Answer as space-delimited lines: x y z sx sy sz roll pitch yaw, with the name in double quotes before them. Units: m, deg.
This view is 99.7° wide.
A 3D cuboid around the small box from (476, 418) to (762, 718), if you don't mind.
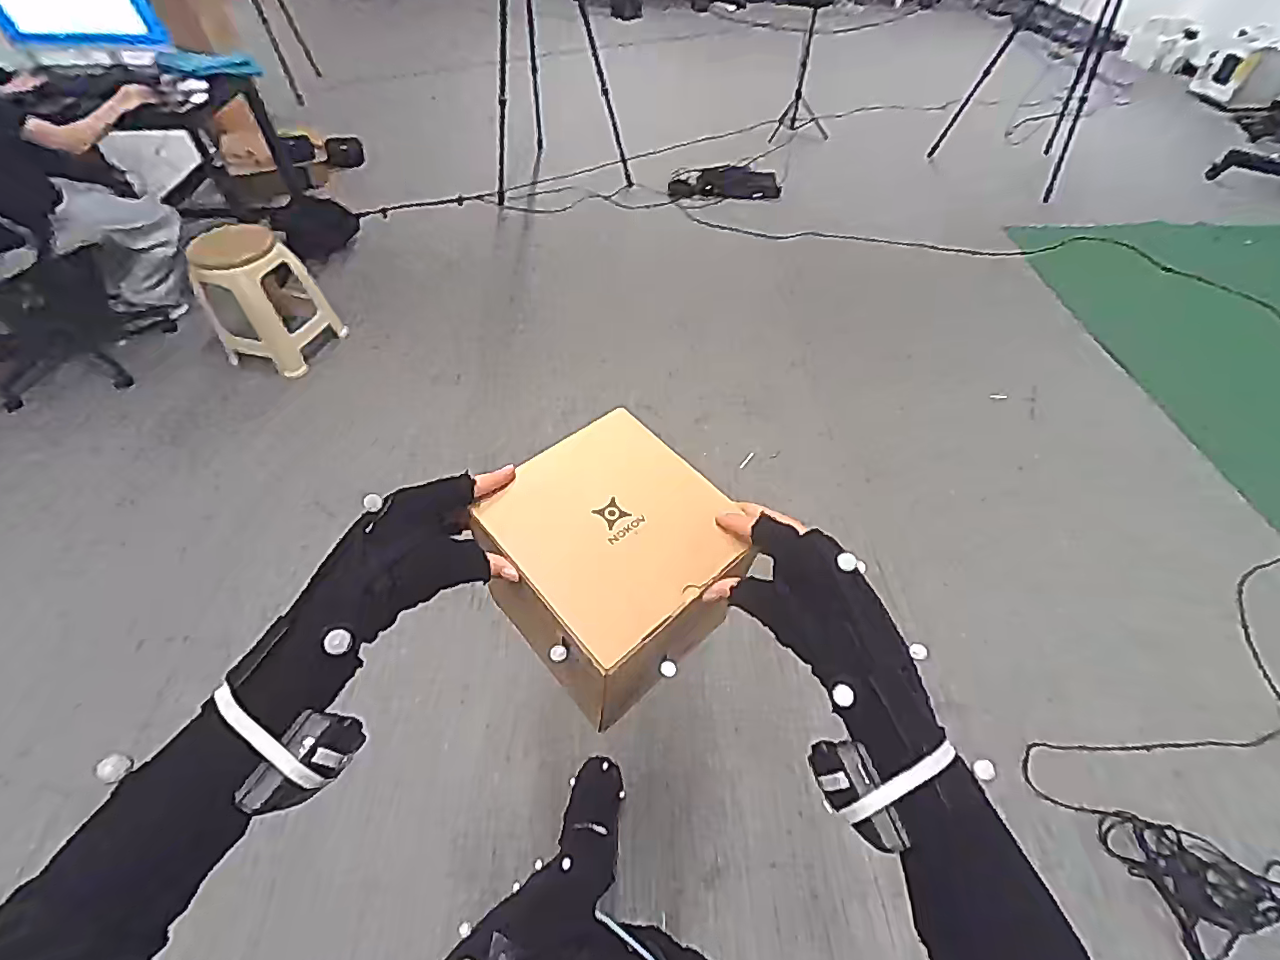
"small box" -0.024 0.082 0.494 0.168 0.176 0.179 -34 63 -27
